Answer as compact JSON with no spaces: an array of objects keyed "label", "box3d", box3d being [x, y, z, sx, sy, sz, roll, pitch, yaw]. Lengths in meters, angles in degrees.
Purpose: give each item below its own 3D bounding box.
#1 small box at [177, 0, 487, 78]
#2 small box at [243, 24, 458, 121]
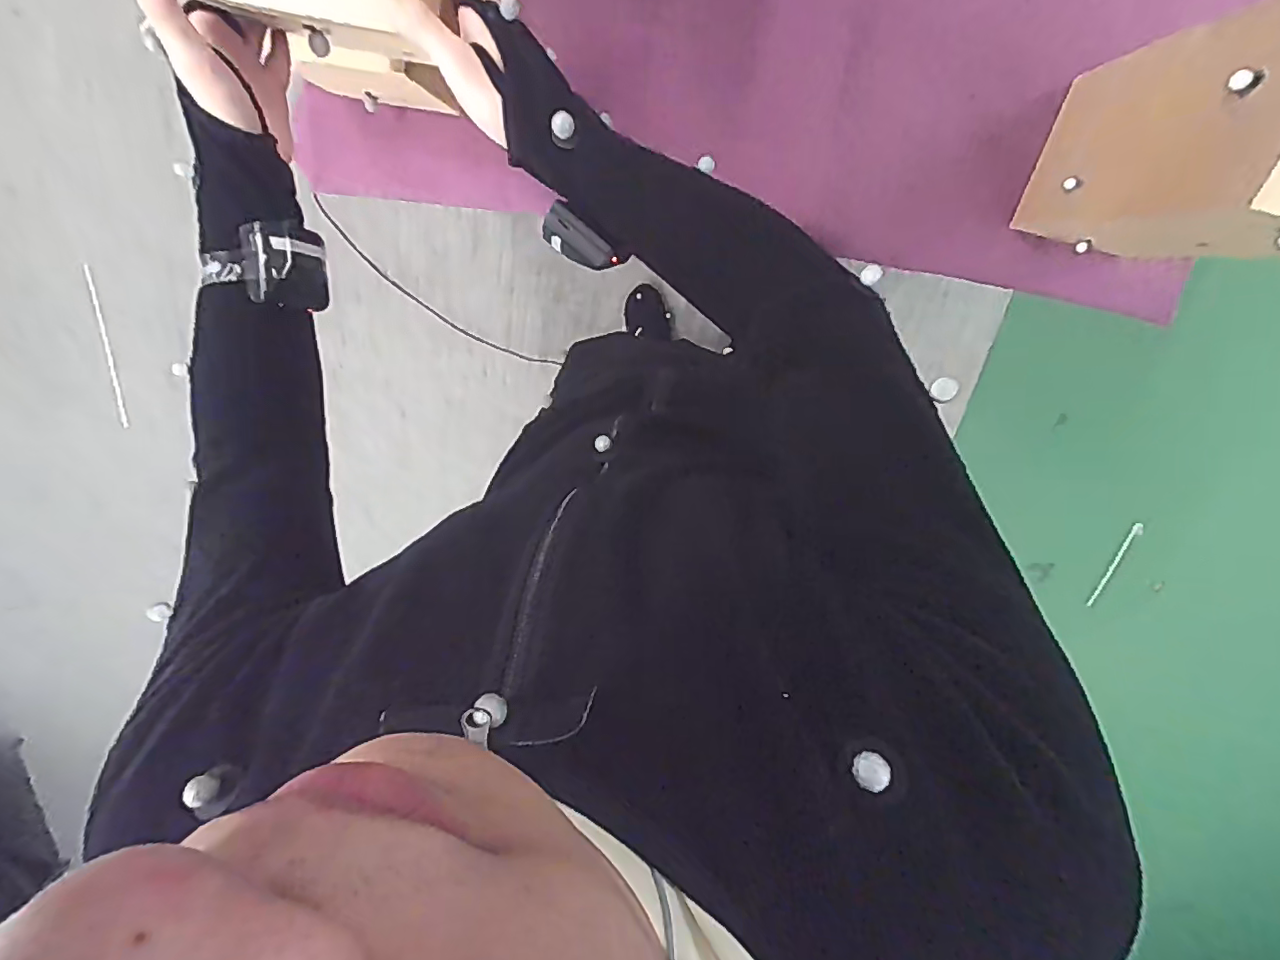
[{"label":"small box","box3d":[-0.209,-0.413,0.384,0.168,0.176,0.179,8,119,-4]},{"label":"small box","box3d":[-0.309,-0.533,0.603,0.168,0.176,0.179,9,112,-1]}]
